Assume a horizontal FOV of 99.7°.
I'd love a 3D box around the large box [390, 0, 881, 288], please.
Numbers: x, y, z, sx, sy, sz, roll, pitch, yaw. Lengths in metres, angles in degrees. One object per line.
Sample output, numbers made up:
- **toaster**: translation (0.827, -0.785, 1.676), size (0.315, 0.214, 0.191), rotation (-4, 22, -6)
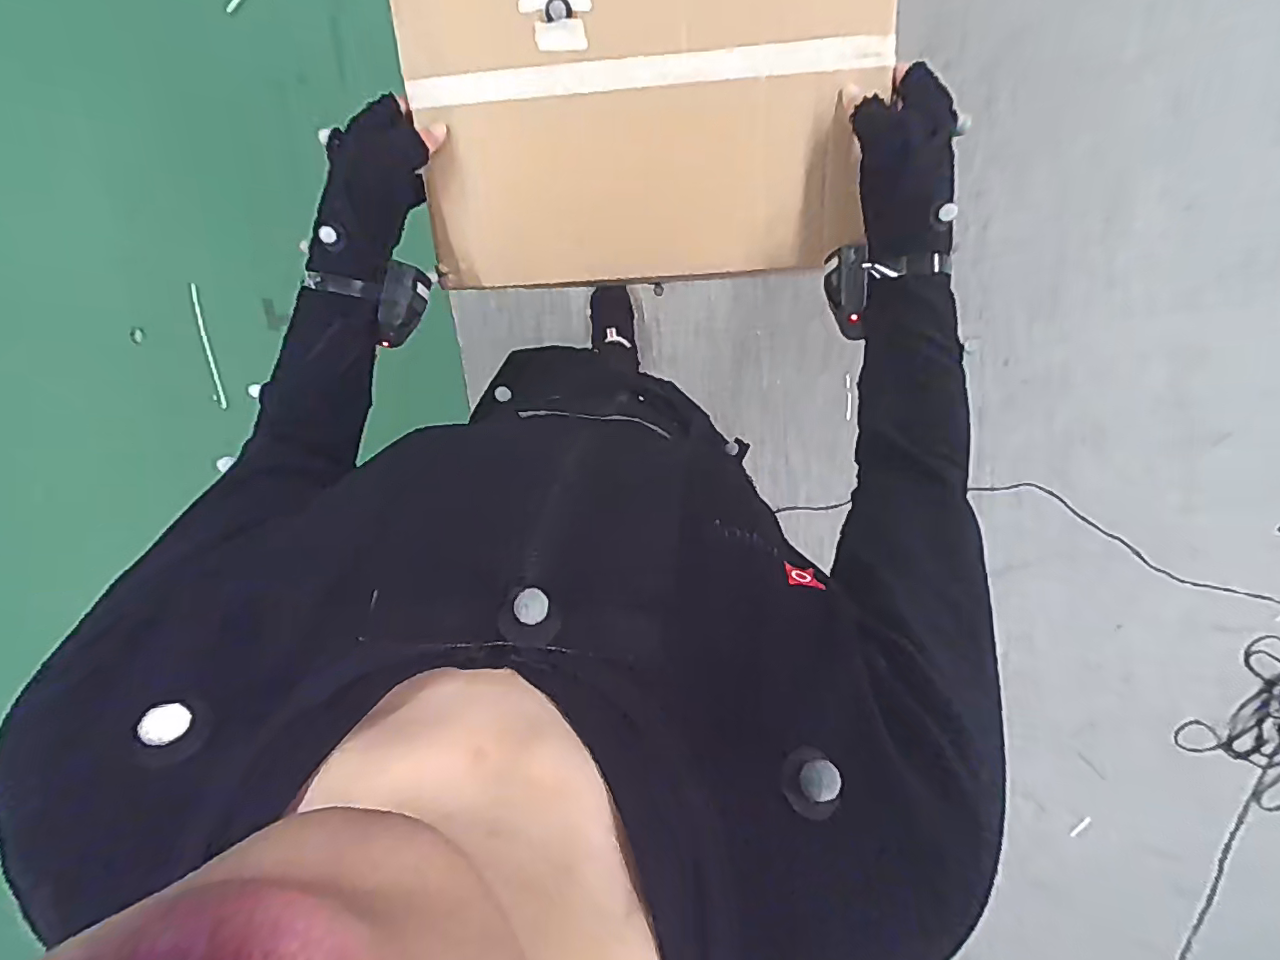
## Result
- **large box**: translation (0.006, -0.388, 0.591), size (0.408, 0.320, 0.320), rotation (-2, 109, 5)
